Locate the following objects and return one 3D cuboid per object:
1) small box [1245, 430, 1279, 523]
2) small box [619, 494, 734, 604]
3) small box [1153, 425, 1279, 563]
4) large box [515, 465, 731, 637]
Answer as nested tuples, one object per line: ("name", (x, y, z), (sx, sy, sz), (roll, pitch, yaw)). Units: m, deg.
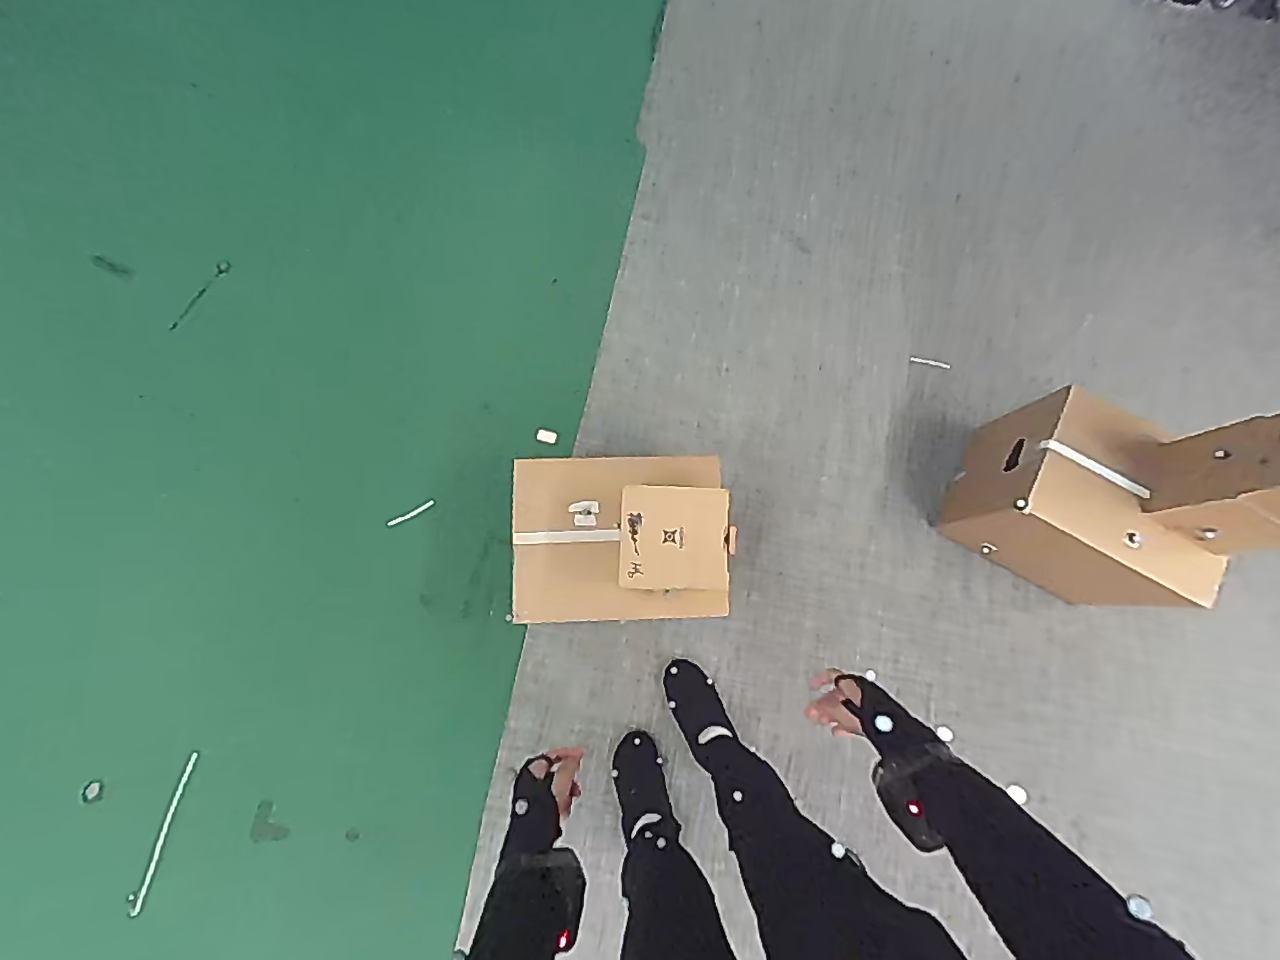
("small box", (1.125, 0.000, 0.835), (0.179, 0.176, 0.168), (32, 76, 6))
("small box", (0.056, 0.122, 0.928), (0.179, 0.176, 0.168), (3, 78, -2))
("small box", (1.110, 0.034, 0.992), (0.168, 0.176, 0.179), (31, 76, 5))
("large box", (-0.038, 0.160, 1.168), (0.408, 0.320, 0.320), (-2, 77, -1))
